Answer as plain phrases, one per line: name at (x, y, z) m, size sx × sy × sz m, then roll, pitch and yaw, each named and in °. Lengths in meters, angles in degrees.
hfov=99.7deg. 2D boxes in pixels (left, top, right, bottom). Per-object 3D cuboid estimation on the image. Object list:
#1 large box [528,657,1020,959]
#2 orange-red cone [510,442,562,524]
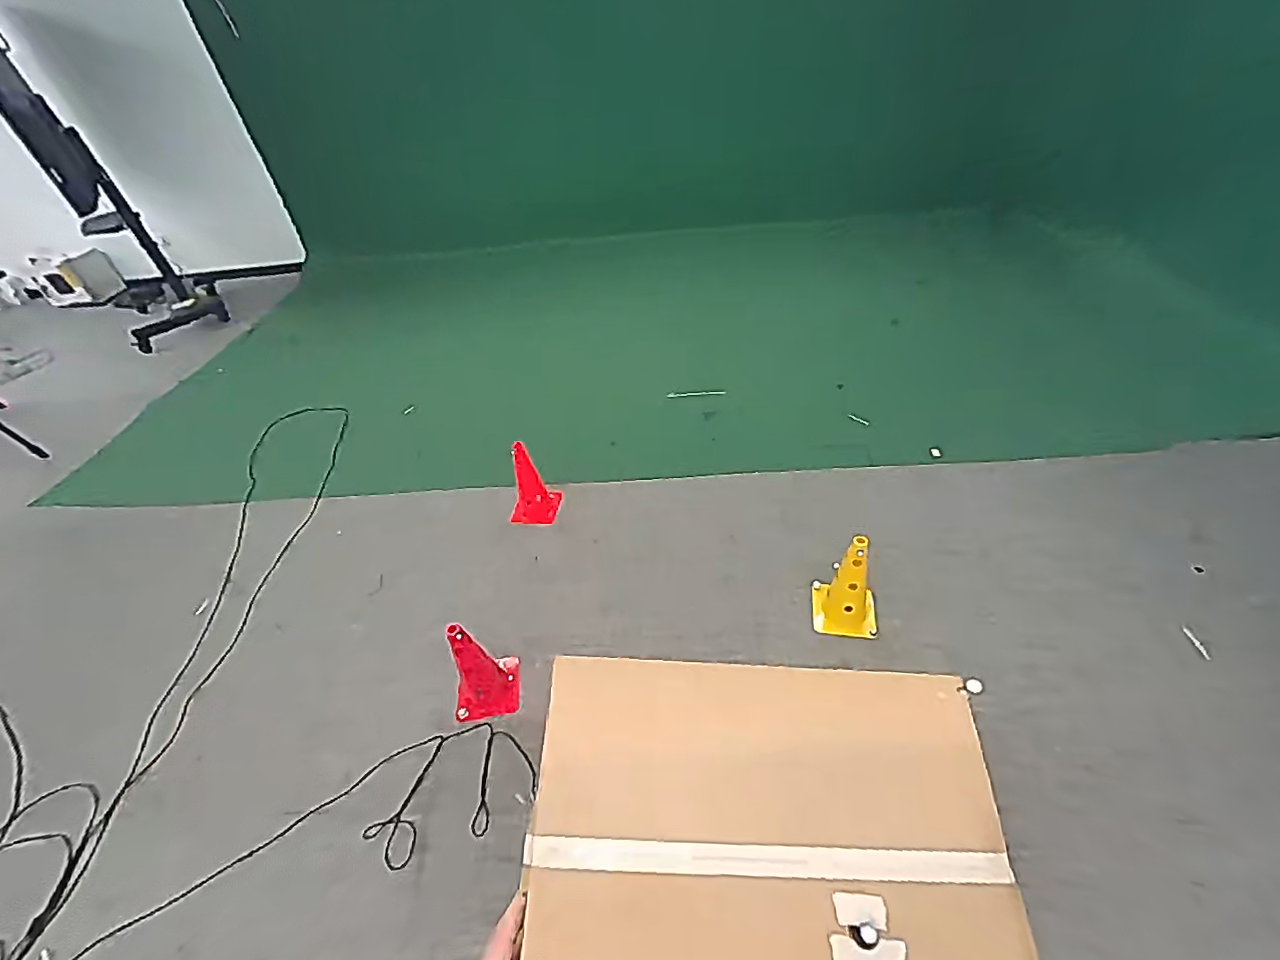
large box at (0.102, 0.392, 0.594) m, size 0.408 × 0.320 × 0.320 m, roll 3°, pitch 60°, yaw -2°
orange-red cone at (-0.473, -0.008, 2.253) m, size 0.199 × 0.360 × 0.198 m, roll 1°, pitch 42°, yaw 12°
